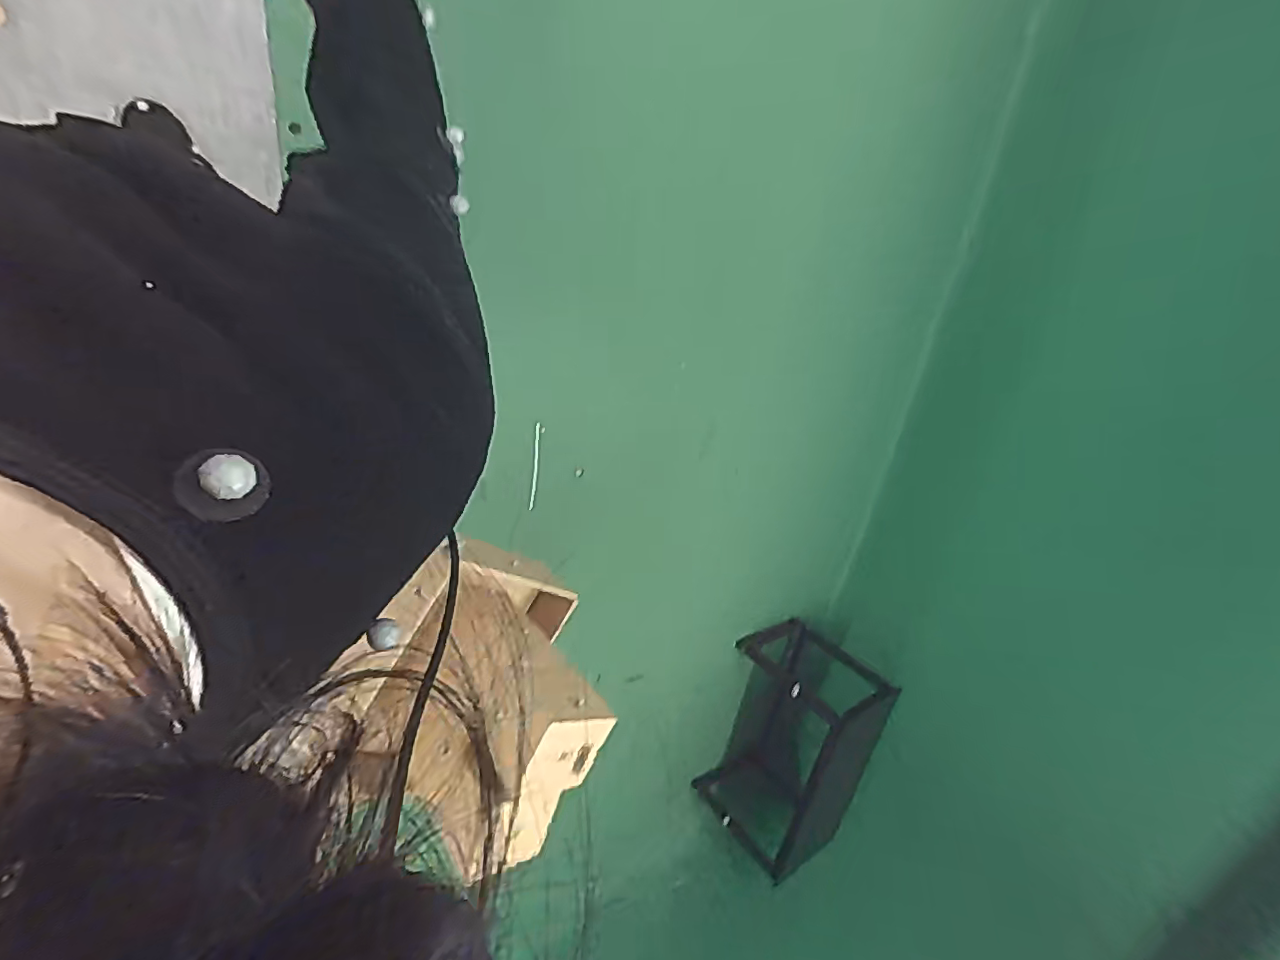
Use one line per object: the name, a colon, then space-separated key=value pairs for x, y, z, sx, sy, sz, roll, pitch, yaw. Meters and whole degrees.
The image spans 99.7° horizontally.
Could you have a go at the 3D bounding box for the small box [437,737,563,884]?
small box: x=-0.289 y=0.649 z=1.094 sx=0.168 sy=0.176 sz=0.179 roll=12 pitch=103 yaw=-44
